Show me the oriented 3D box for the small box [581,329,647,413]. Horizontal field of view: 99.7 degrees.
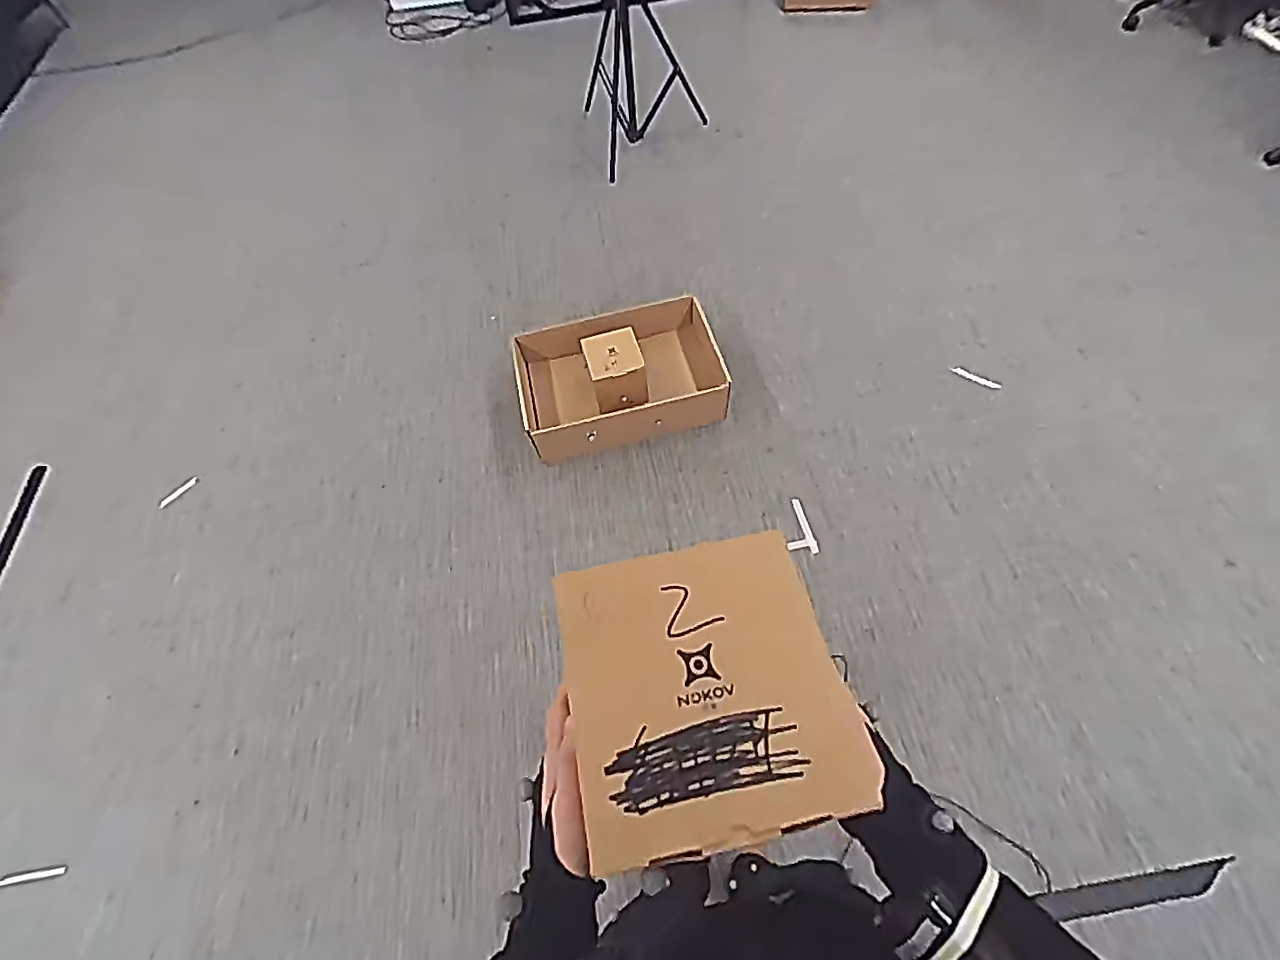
[{"bbox_3d":[-0.079,-0.340,1.705,0.168,0.176,0.179,-16,61,-4],"label":"small box"}]
